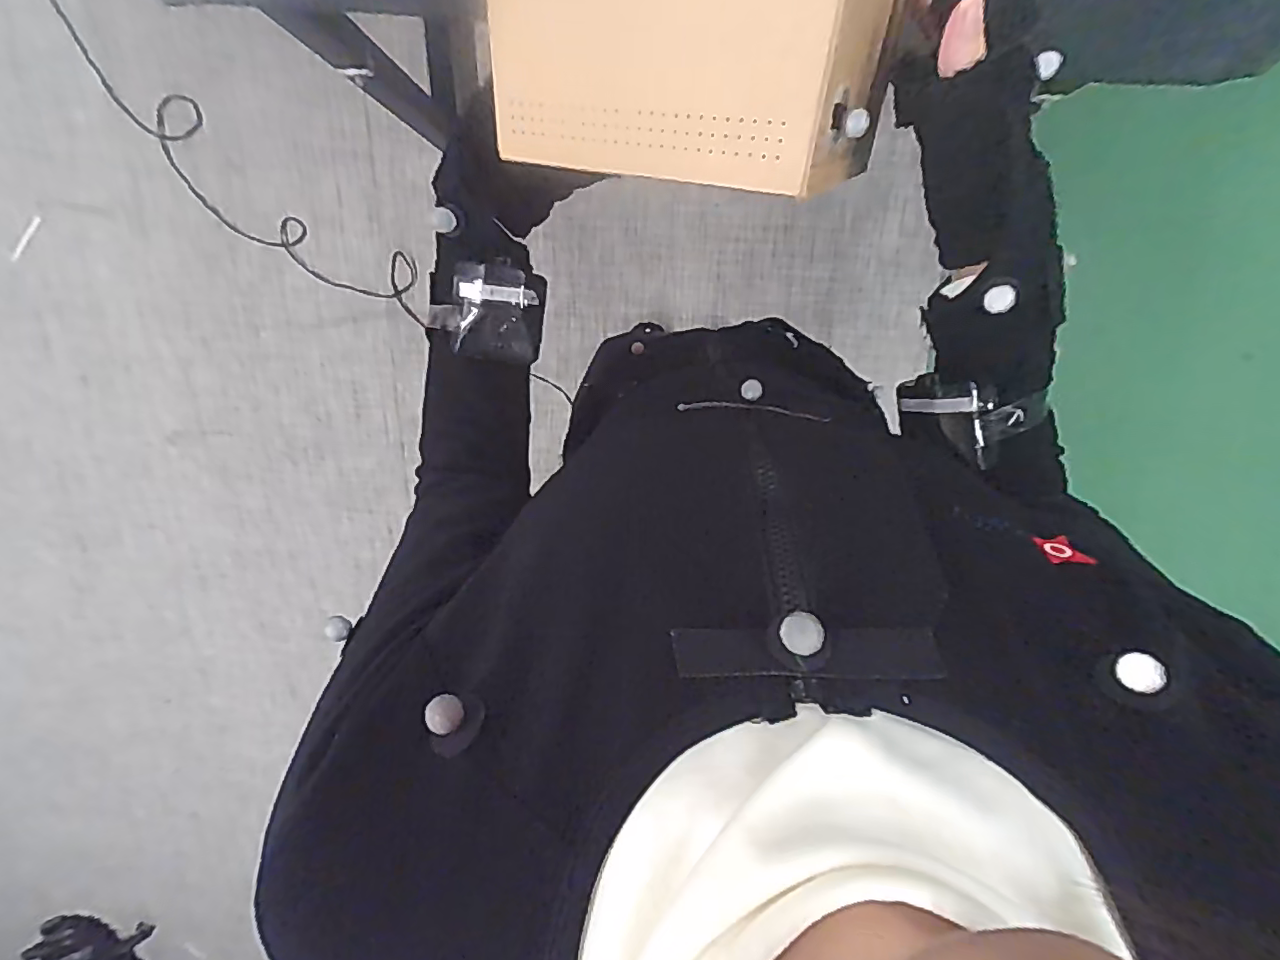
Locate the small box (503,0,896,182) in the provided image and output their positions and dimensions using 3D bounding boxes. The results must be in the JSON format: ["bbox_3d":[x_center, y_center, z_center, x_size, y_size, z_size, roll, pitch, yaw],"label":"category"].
[{"bbox_3d":[0.042,-0.267,0.298,0.179,0.168,0.176,19,127,21],"label":"small box"}]
